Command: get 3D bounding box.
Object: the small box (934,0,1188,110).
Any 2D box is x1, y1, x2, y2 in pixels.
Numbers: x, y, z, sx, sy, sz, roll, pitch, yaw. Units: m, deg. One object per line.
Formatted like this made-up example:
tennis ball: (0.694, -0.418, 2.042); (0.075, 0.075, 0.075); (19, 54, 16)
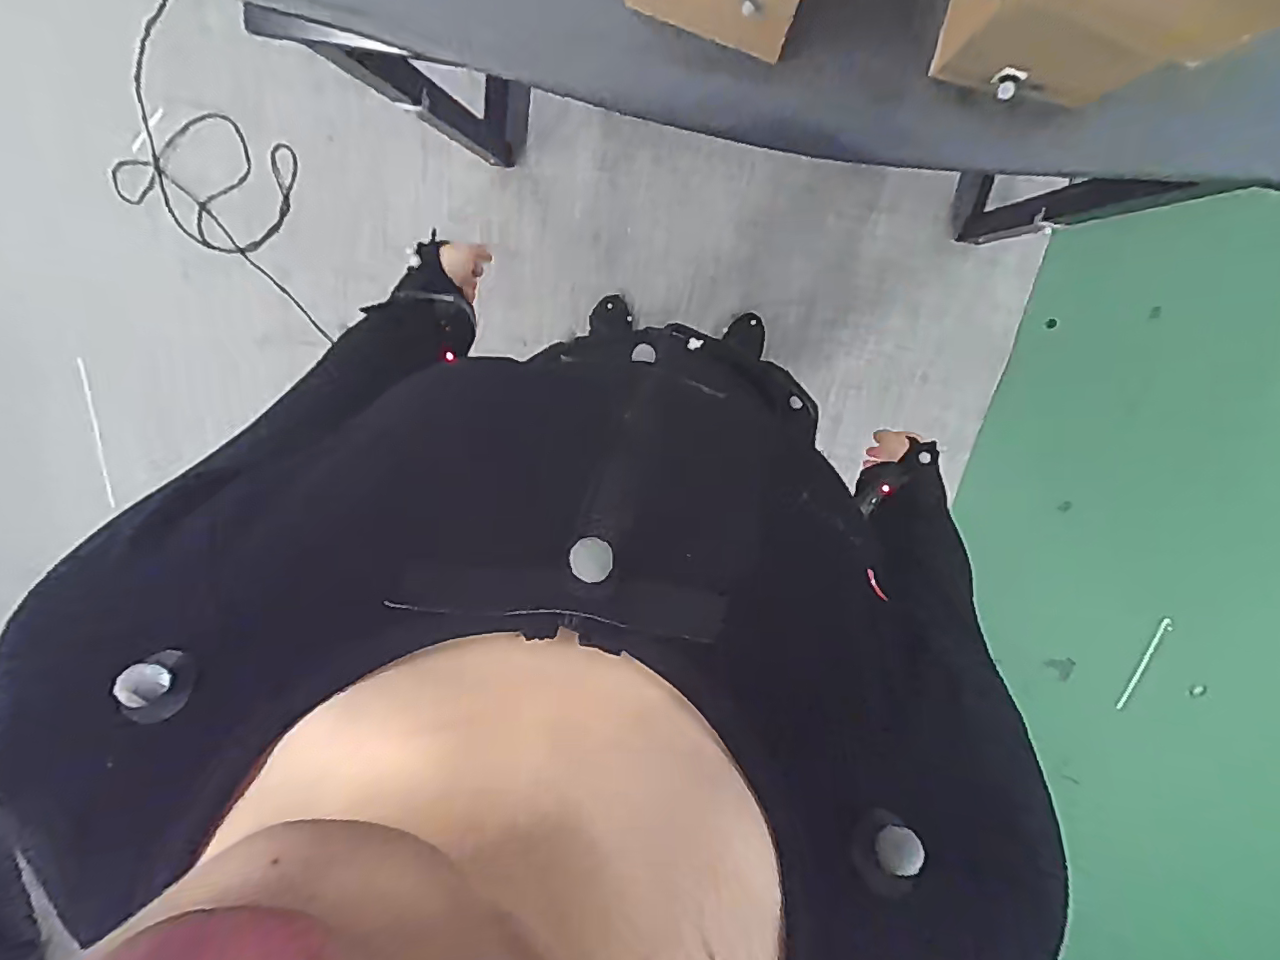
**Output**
small box: (0.390, -0.462, 0.470); (0.168, 0.176, 0.179); (12, 108, 3)
